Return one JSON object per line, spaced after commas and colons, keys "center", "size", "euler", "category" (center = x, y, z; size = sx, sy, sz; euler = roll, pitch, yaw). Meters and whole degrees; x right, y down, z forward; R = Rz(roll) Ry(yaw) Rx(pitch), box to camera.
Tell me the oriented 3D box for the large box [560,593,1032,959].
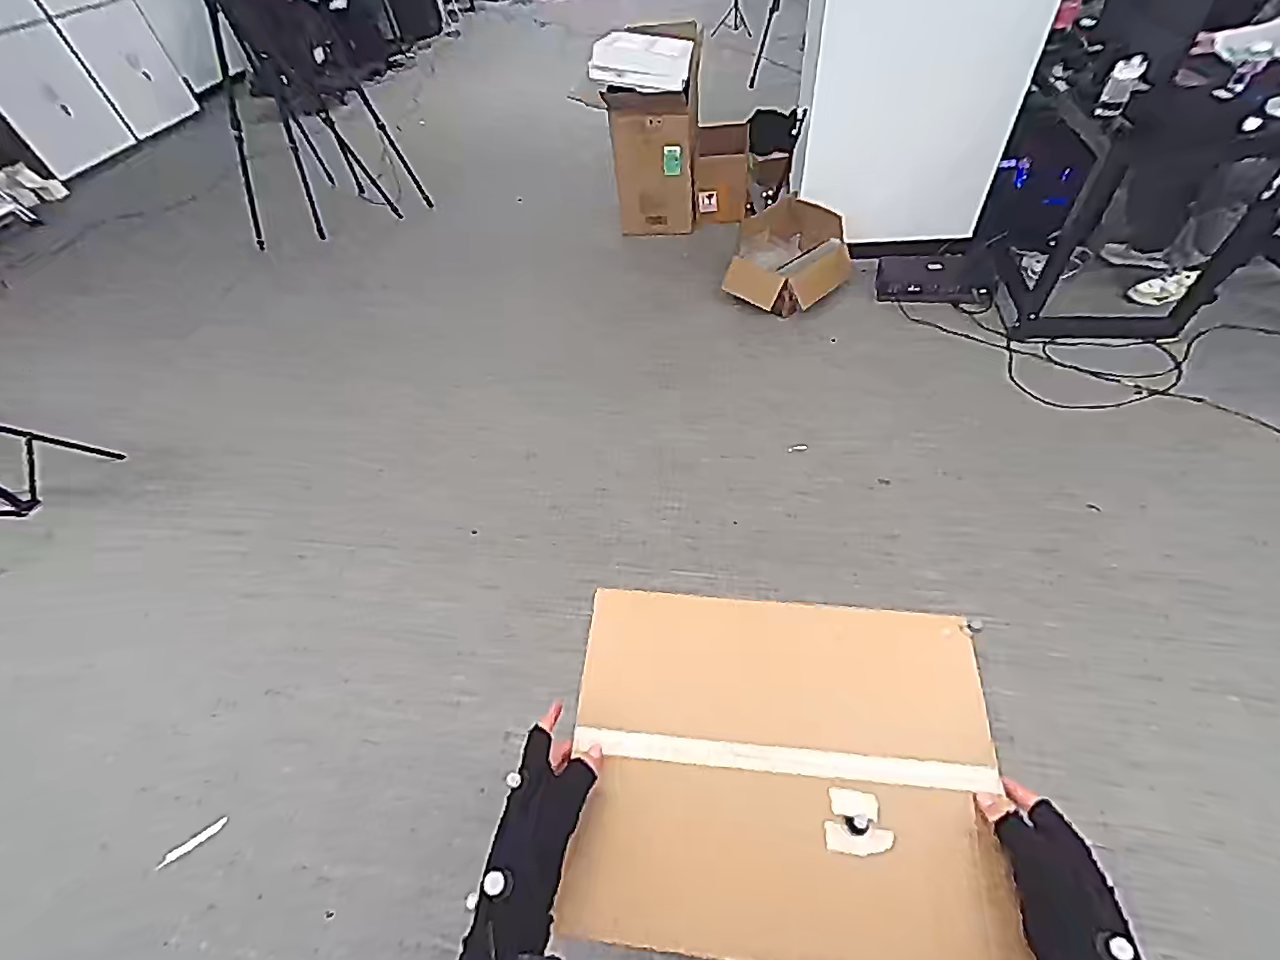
{"center": [0.142, 0.347, 0.658], "size": [0.408, 0.320, 0.320], "euler": [3, 60, 5], "category": "large box"}
